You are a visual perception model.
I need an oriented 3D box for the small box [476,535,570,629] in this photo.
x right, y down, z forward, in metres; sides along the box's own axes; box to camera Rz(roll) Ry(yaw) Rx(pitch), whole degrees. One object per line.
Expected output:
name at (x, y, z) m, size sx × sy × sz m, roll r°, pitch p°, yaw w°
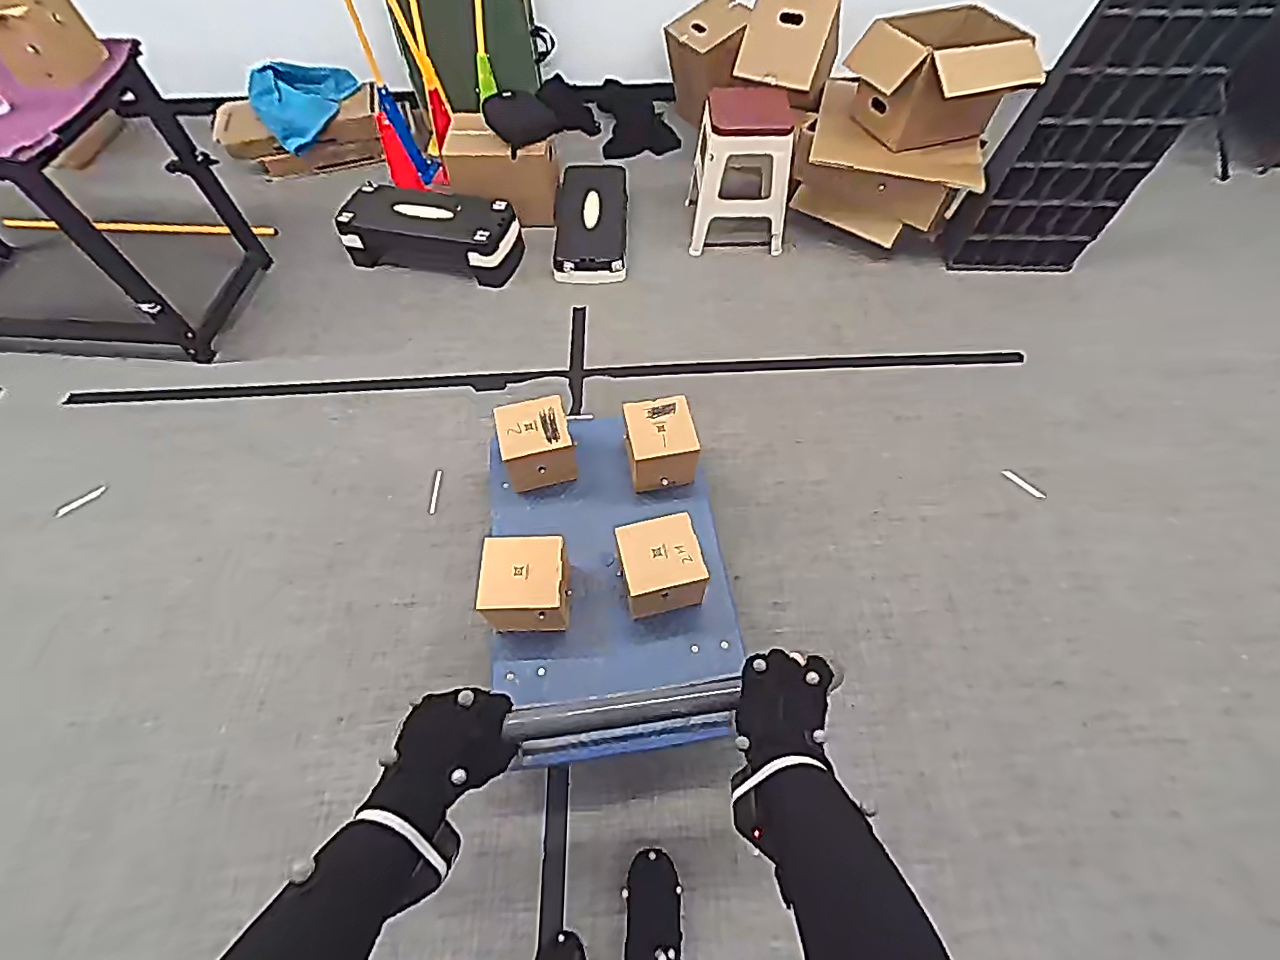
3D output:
small box at (-0.257, 0.235, 1.226) m, size 0.179 × 0.176 × 0.168 m, roll -1°, pitch 59°, yaw -2°

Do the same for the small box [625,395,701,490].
small box at (0.053, -0.096, 1.417) m, size 0.168 × 0.176 × 0.179 m, roll -10°, pitch 61°, yaw -5°

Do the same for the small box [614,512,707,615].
small box at (0.045, 0.197, 1.246) m, size 0.179 × 0.176 × 0.168 m, roll -12°, pitch 61°, yaw -6°
